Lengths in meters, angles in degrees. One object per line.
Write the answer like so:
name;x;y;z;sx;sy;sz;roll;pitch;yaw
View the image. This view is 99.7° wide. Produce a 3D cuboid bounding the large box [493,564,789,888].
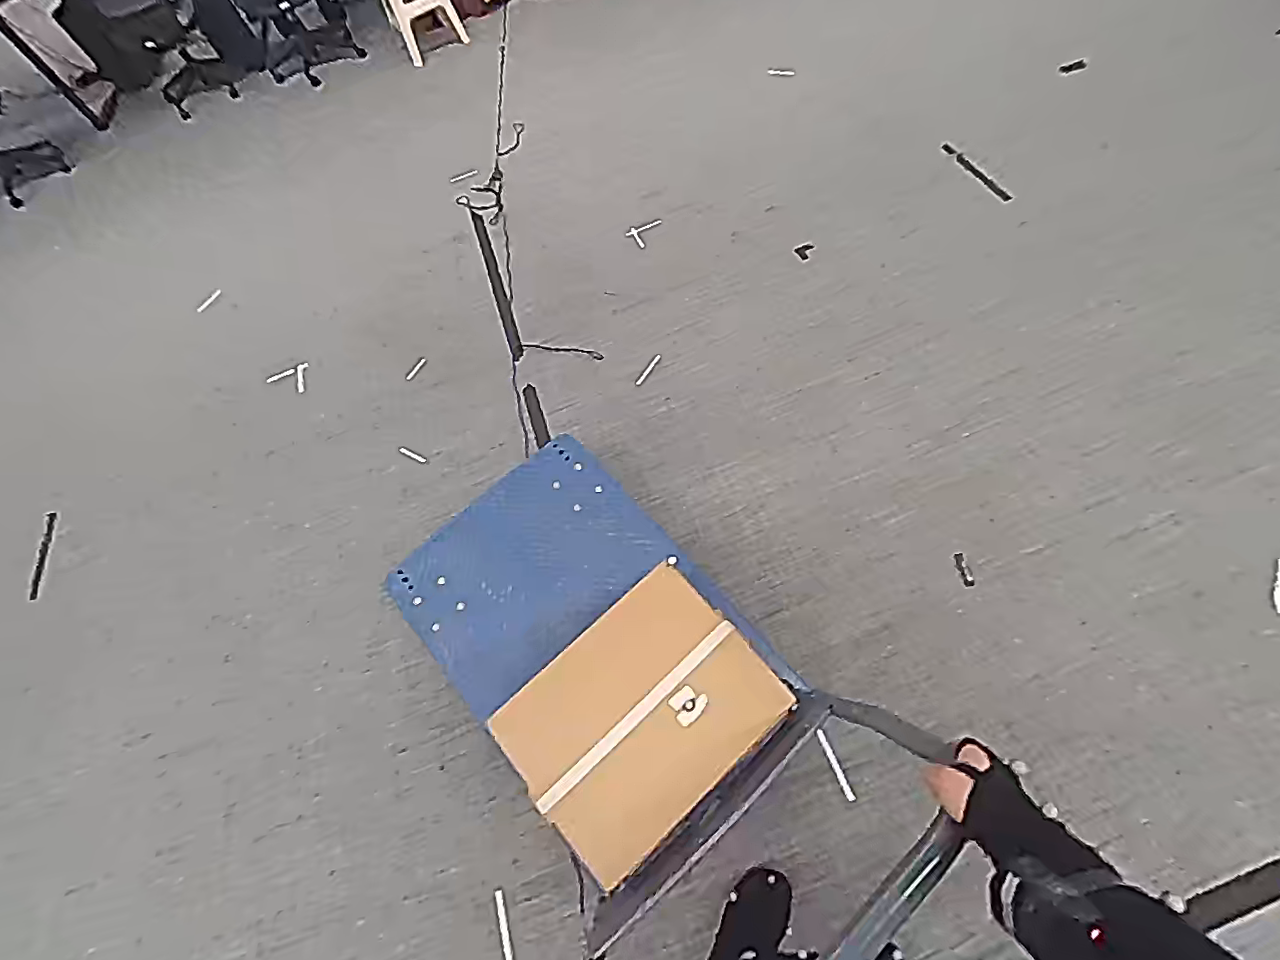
large box;0.008;0.433;1.022;0.408;0.320;0.320;-41;73;-12
